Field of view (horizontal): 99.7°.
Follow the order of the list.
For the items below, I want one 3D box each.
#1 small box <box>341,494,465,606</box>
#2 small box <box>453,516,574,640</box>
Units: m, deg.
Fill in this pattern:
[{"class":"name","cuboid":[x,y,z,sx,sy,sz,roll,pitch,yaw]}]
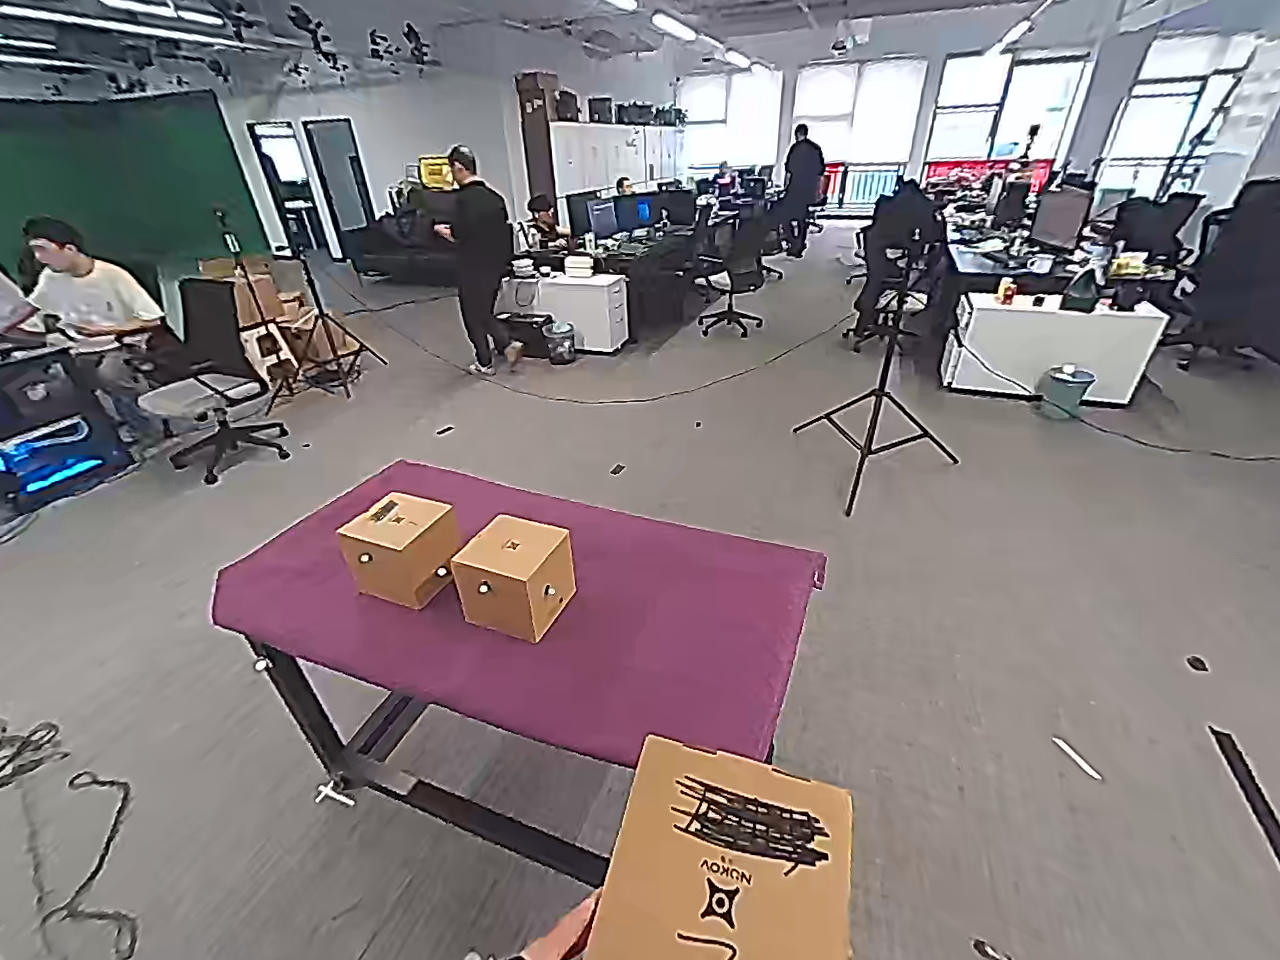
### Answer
[{"class":"small box","cuboid":[-0.515,0.156,1.201,0.179,0.176,0.168,11,34,19]},{"class":"small box","cuboid":[-0.248,0.201,1.112,0.179,0.176,0.168,11,33,19]}]
